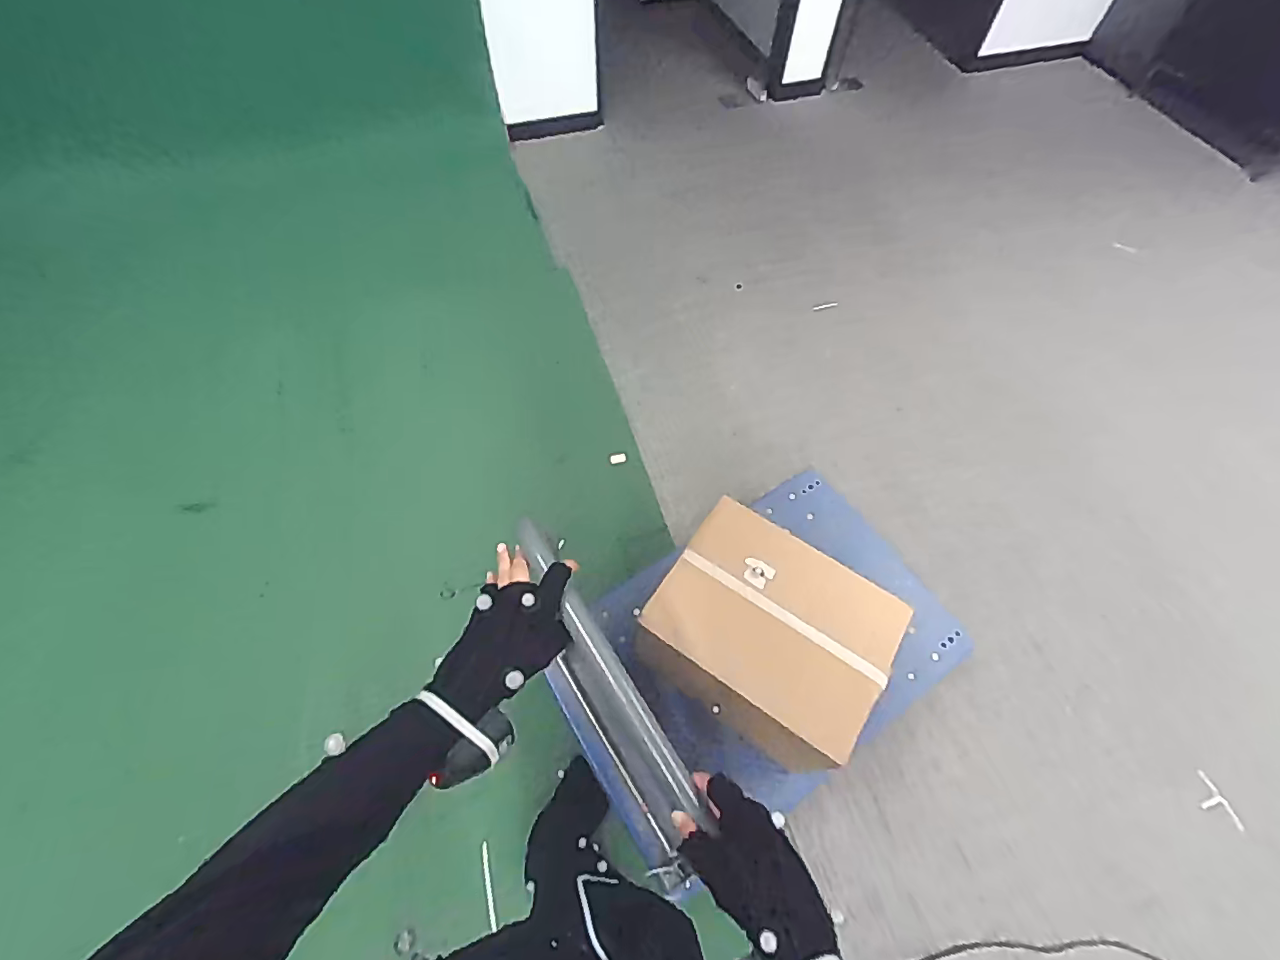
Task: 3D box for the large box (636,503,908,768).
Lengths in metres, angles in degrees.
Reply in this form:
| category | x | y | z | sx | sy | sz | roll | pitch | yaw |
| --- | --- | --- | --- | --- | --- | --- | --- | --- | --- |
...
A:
| category | x | y | z | sx | sy | sz | roll | pitch | yaw |
| --- | --- | --- | --- | --- | --- | --- | --- | --- | --- |
| large box | 0.242 | 0.322 | 1.100 | 0.408 | 0.320 | 0.320 | 31 | 63 | 17 |
